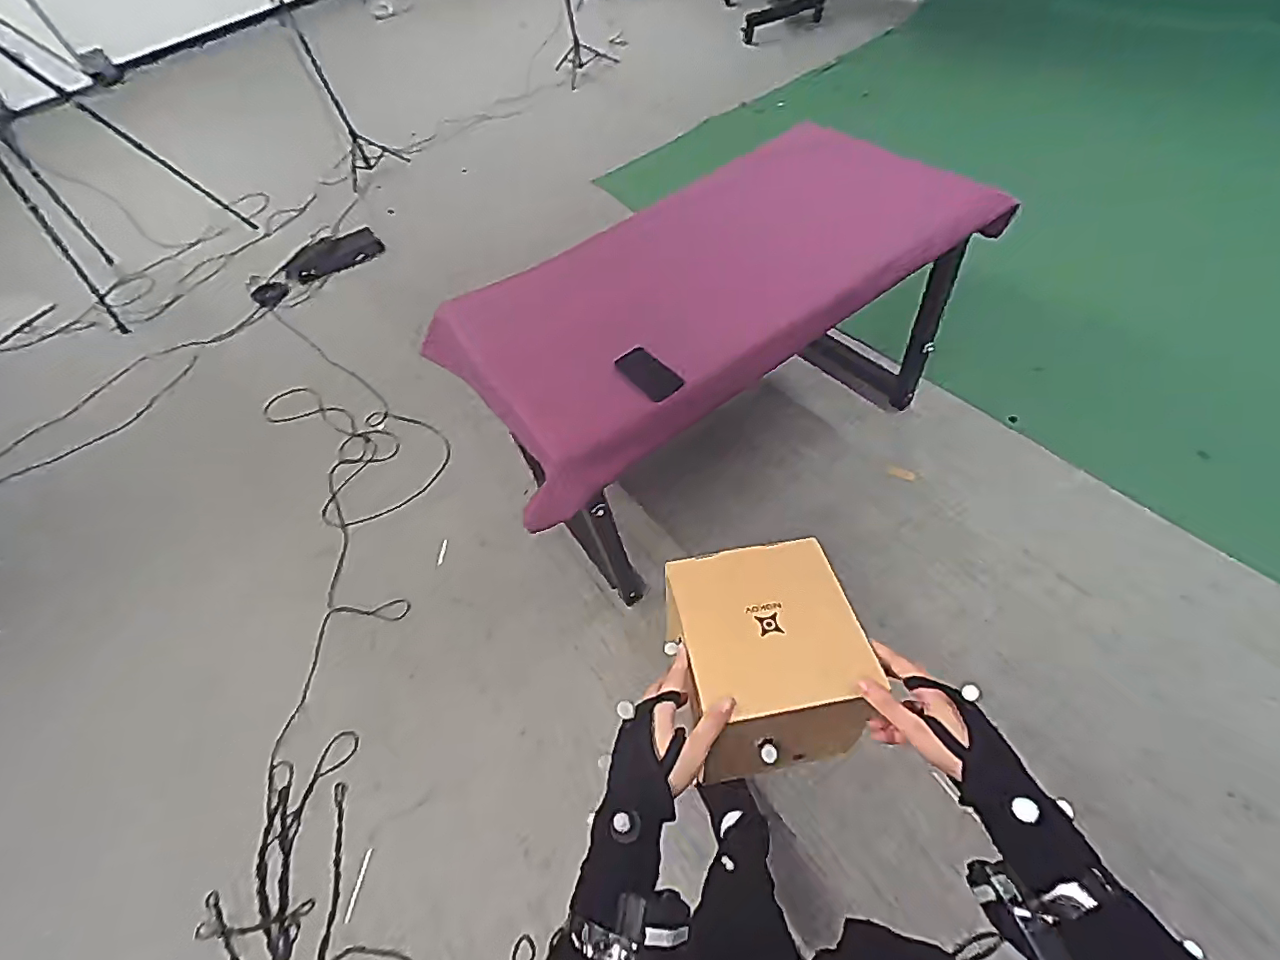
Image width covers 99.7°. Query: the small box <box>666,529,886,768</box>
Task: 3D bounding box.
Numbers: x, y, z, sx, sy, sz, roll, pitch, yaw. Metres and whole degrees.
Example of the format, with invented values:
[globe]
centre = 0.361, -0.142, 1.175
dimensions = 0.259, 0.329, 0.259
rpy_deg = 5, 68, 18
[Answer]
[small box]
centre = 0.126, 0.182, 0.570
dimensions = 0.168, 0.176, 0.179
rpy_deg = -9, 43, -4
